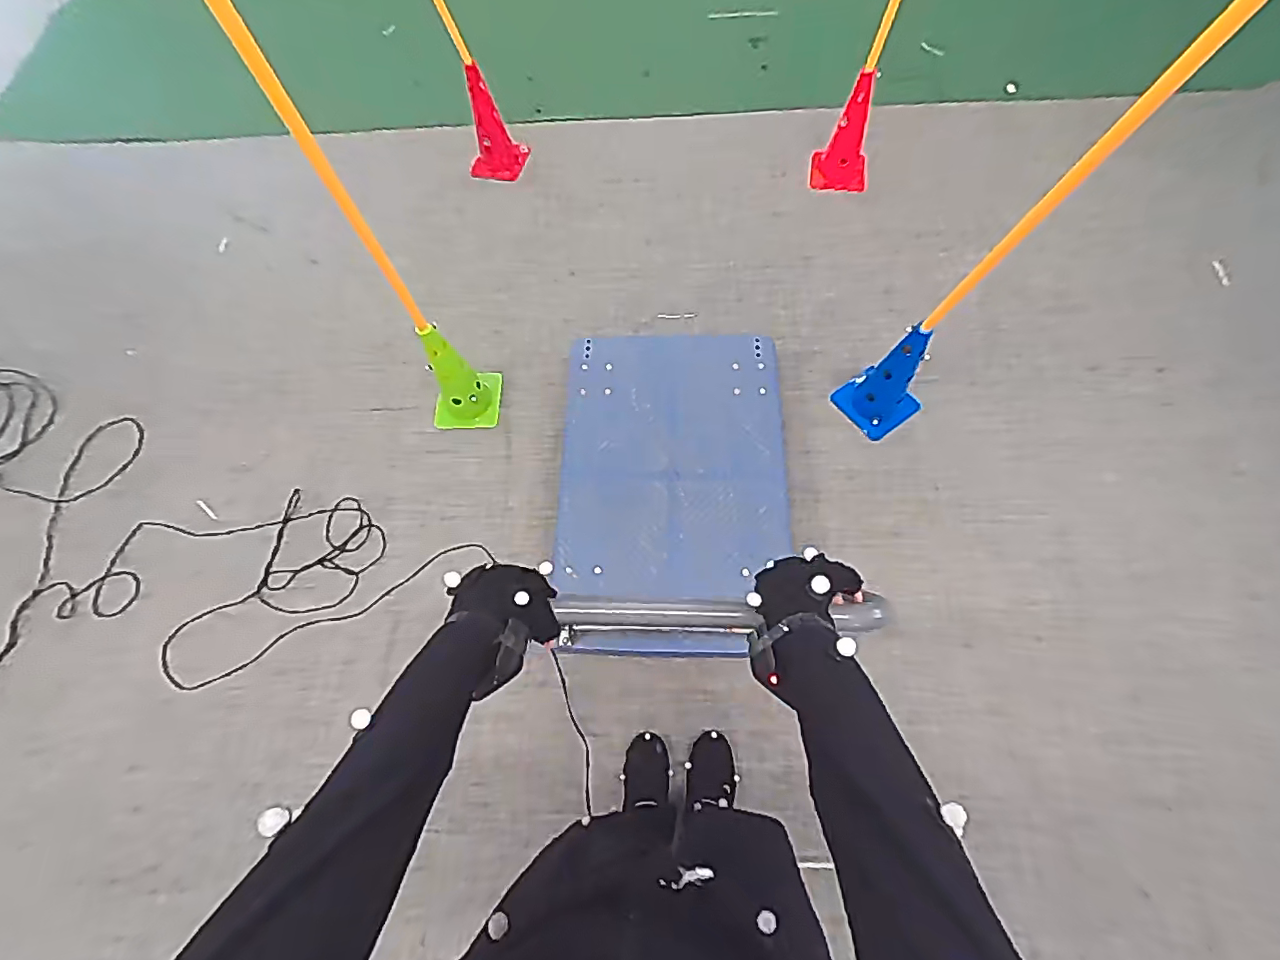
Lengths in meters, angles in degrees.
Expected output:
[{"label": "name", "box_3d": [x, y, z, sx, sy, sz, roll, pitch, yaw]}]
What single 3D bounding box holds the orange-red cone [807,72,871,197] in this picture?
[{"label": "orange-red cone", "box_3d": [0.715, -1.190, 1.844, 0.198, 0.360, 0.199, 10, 69, 8]}]
